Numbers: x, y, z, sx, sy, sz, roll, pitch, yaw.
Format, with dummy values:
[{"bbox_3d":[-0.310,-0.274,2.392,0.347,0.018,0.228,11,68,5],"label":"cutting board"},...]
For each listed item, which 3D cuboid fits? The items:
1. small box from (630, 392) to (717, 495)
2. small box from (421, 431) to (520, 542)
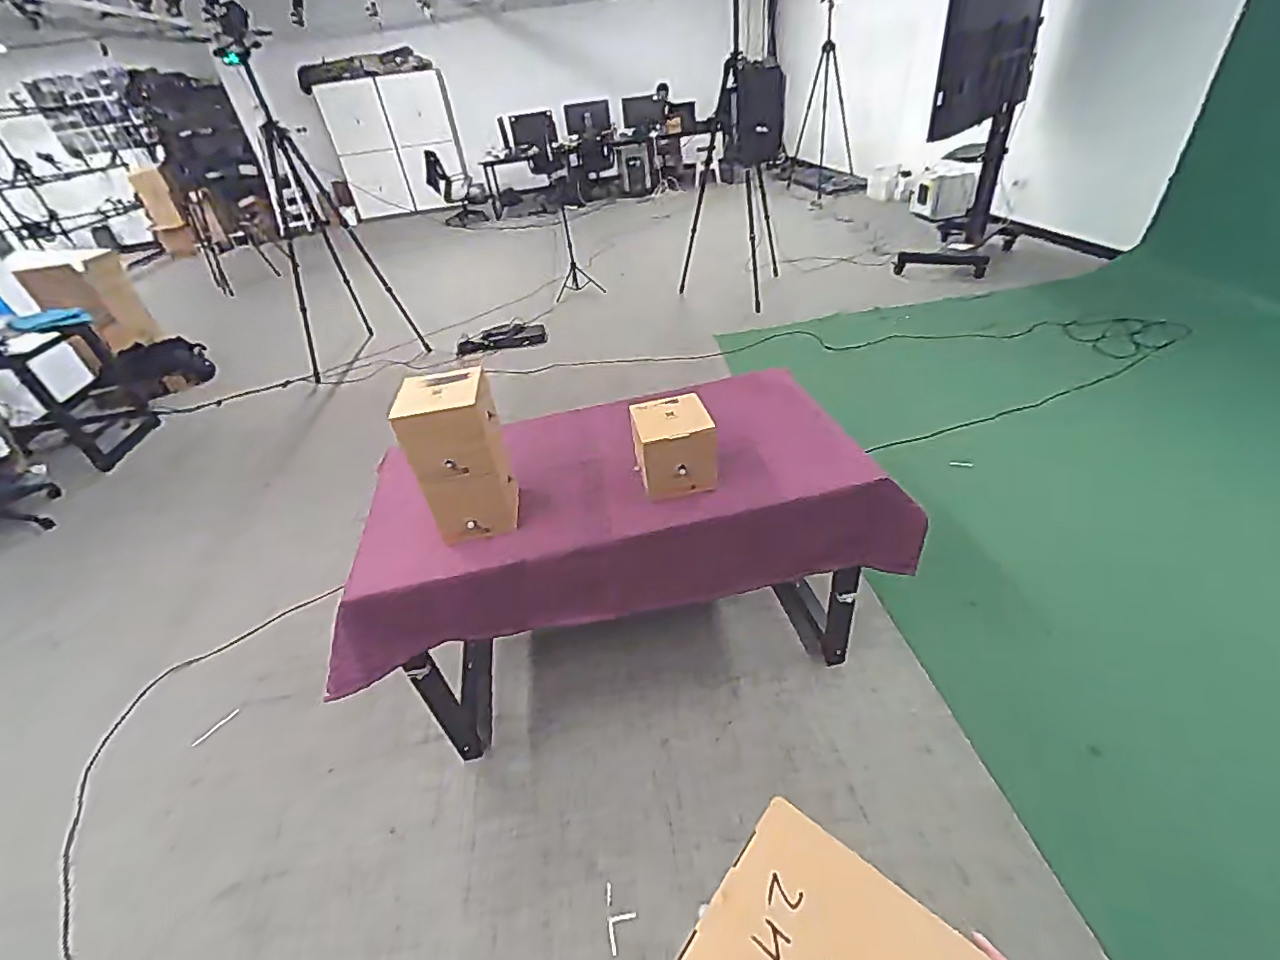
[{"bbox_3d":[0.079,-0.081,1.267,0.168,0.176,0.179,-11,38,-4],"label":"small box"},{"bbox_3d":[-0.376,0.014,1.231,0.168,0.176,0.179,-11,38,-3],"label":"small box"}]
